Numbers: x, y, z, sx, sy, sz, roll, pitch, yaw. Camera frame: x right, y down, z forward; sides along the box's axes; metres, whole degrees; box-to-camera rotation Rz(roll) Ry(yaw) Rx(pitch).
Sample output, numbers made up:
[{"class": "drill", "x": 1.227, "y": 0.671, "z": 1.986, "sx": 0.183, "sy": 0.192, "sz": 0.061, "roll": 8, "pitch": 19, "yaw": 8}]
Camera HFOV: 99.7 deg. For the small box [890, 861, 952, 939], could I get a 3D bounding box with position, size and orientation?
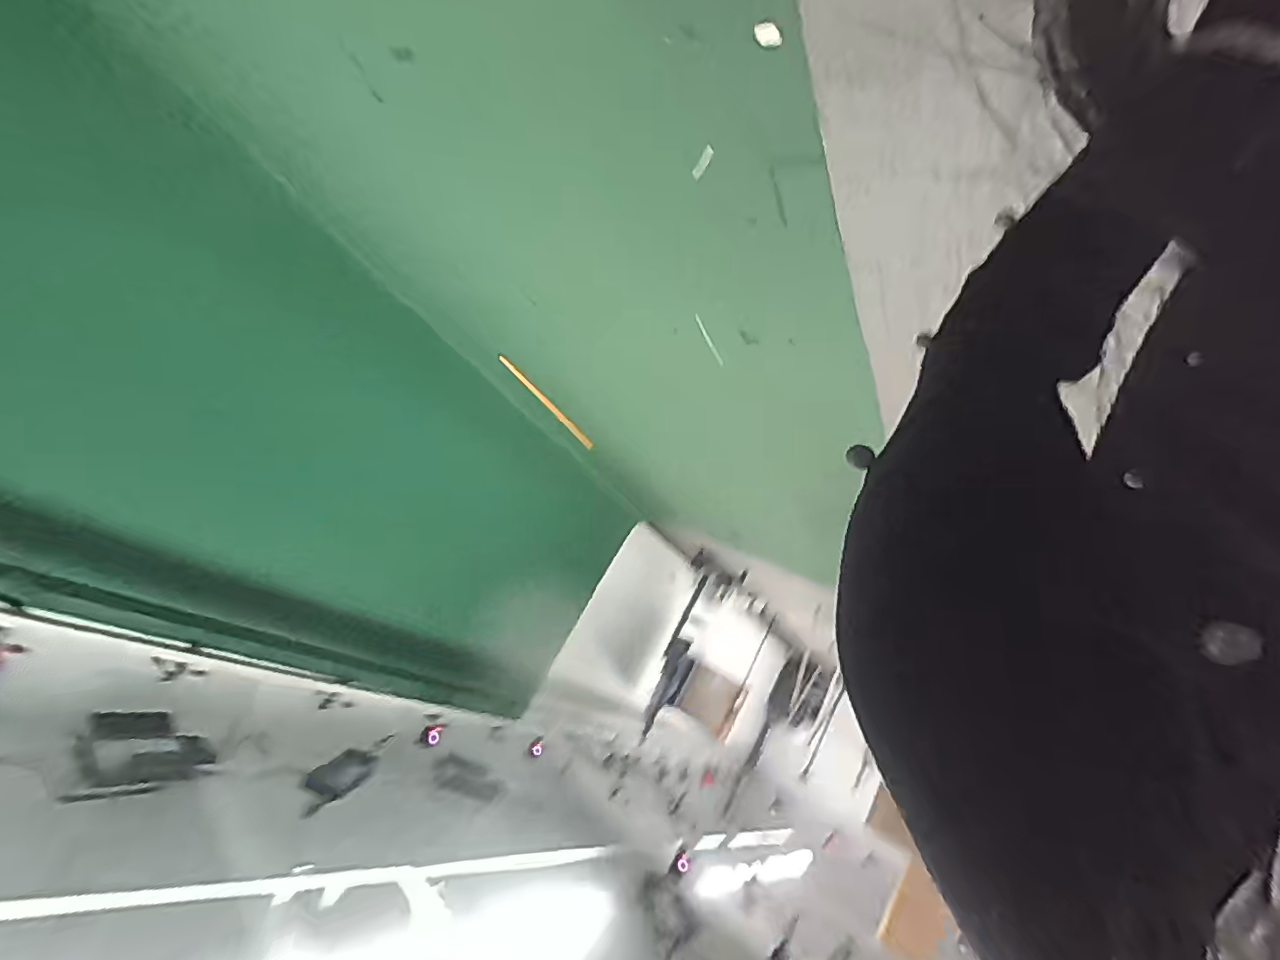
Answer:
[{"class": "small box", "x": 1.100, "y": 1.637, "z": 2.119, "sx": 0.168, "sy": 0.176, "sz": 0.179, "roll": 22, "pitch": 161, "yaw": 30}]
